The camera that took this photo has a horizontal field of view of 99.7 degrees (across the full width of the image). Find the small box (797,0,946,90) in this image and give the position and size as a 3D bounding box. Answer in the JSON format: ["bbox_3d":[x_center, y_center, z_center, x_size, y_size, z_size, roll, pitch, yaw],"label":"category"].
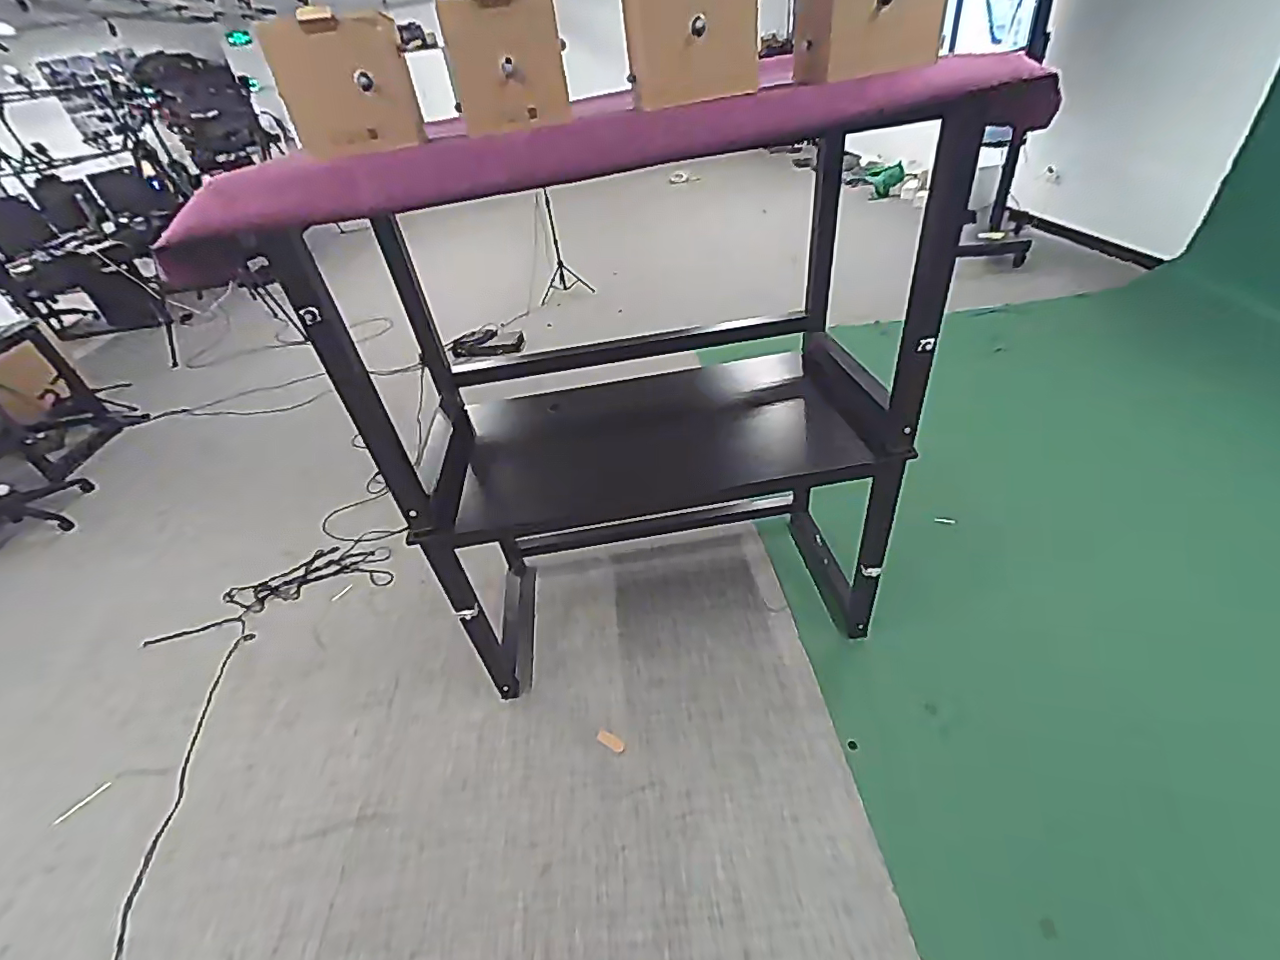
[{"bbox_3d":[0.356,-0.730,0.843,0.179,0.176,0.168,-10,38,1],"label":"small box"}]

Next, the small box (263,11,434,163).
[{"bbox_3d":[-0.439,-0.609,0.850,0.168,0.176,0.179,-12,37,-6],"label":"small box"}]

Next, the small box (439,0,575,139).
[{"bbox_3d":[-0.202,-0.655,0.862,0.168,0.176,0.179,-11,37,-4],"label":"small box"}]
